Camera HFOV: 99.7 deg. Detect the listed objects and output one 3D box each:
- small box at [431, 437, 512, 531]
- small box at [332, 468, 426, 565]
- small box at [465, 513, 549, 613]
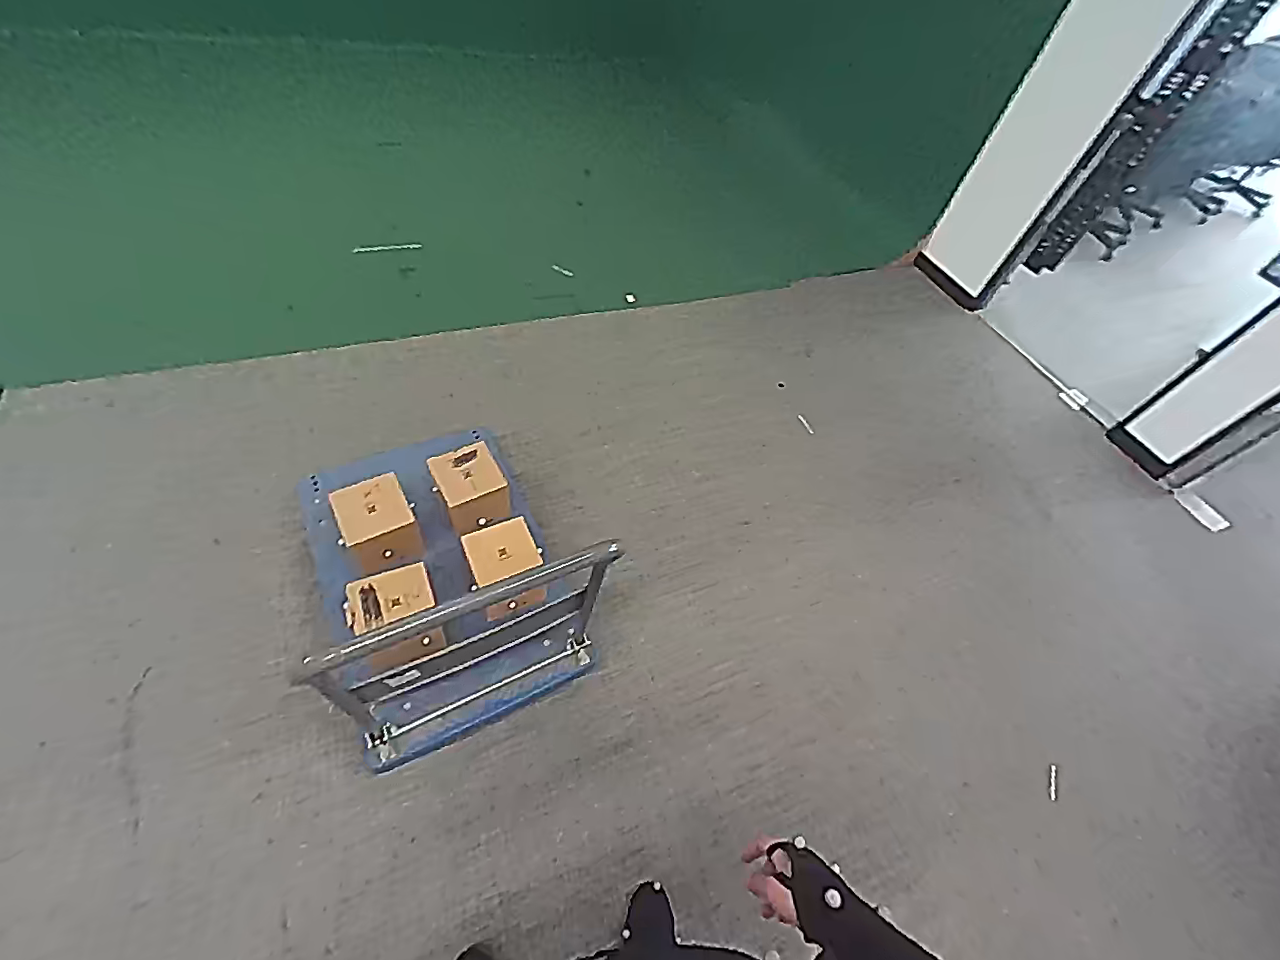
[{"bbox_3d":[-0.476,0.013,1.540,0.168,0.176,0.179,-23,63,-24],"label":"small box"},{"bbox_3d":[-0.686,0.104,1.435,0.168,0.176,0.179,-22,62,-25],"label":"small box"},{"bbox_3d":[-0.349,0.220,1.420,0.168,0.176,0.179,-18,61,-22],"label":"small box"}]
